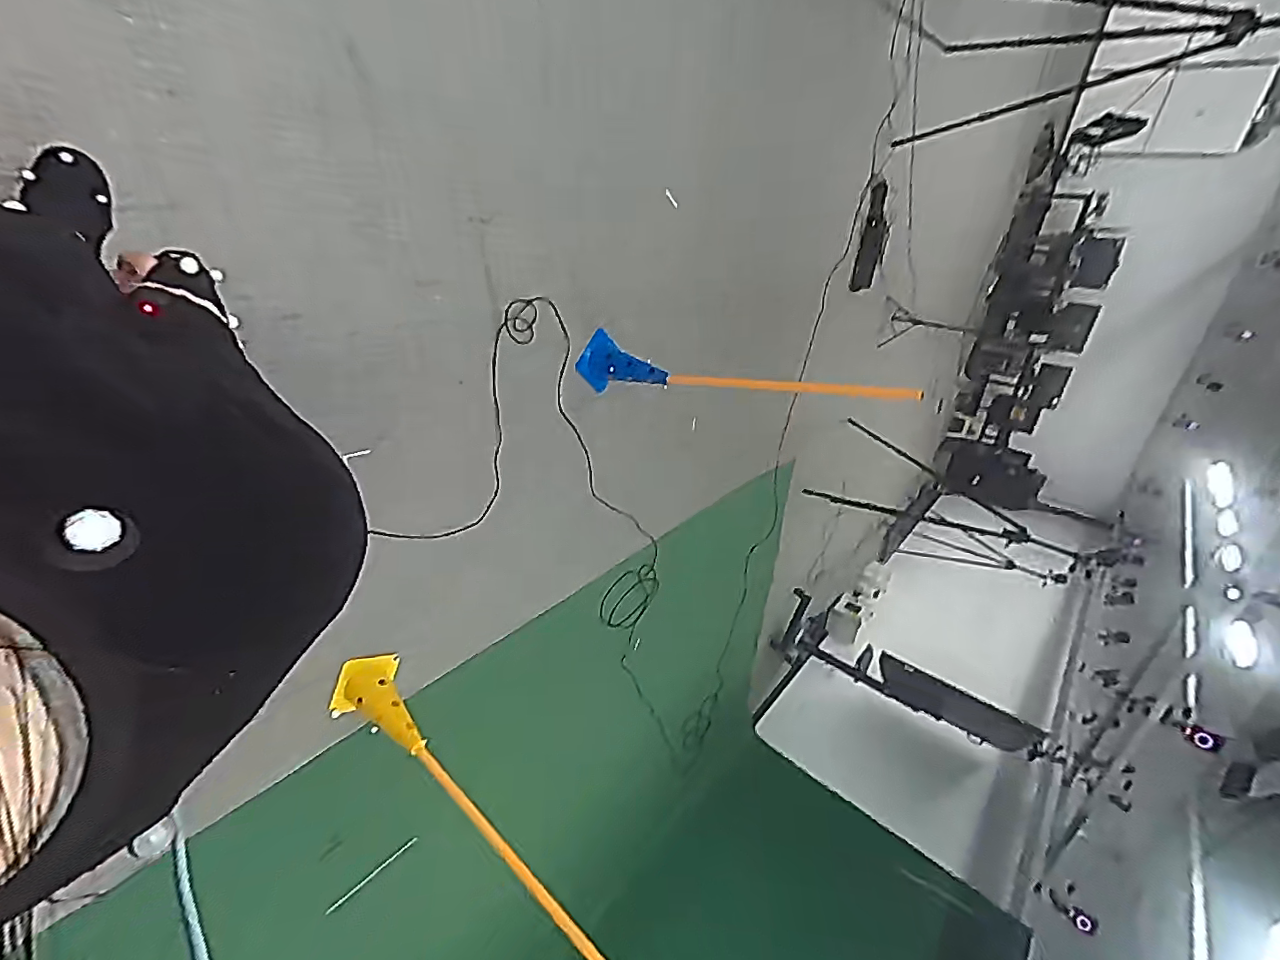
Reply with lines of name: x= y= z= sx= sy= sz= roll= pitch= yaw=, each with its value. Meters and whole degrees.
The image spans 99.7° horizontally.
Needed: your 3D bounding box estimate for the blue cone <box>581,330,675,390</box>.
blue cone: x=-0.028 y=-0.430 z=2.060 sx=0.192 sy=0.380 sz=0.193 roll=39 pitch=76 yaw=-53
